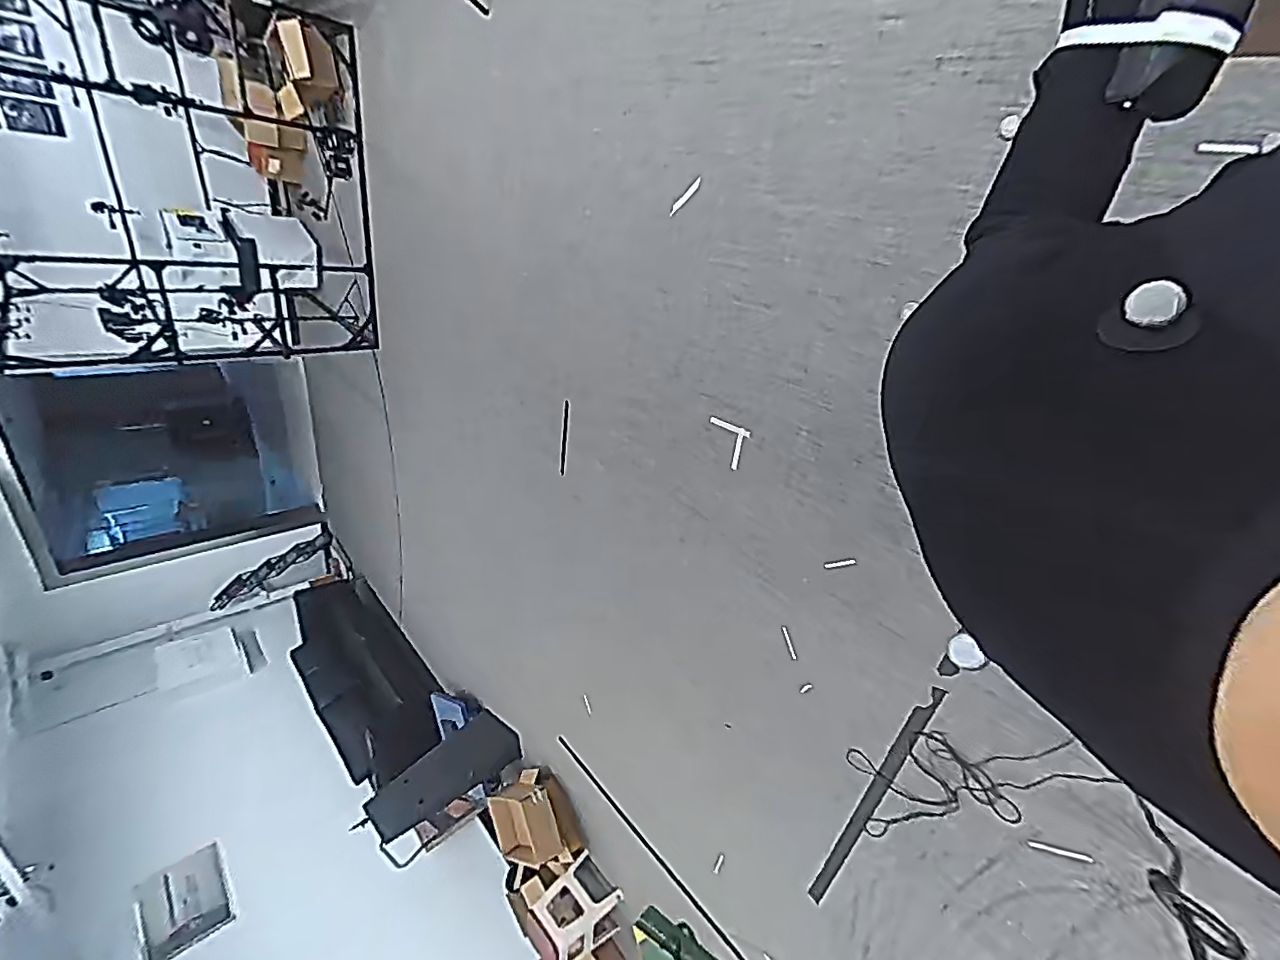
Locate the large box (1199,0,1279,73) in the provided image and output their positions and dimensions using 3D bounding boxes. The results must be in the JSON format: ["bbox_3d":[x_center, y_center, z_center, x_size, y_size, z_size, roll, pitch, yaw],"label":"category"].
[{"bbox_3d":[0.587,-0.399,0.235,0.408,0.320,0.320,27,129,34],"label":"large box"}]
